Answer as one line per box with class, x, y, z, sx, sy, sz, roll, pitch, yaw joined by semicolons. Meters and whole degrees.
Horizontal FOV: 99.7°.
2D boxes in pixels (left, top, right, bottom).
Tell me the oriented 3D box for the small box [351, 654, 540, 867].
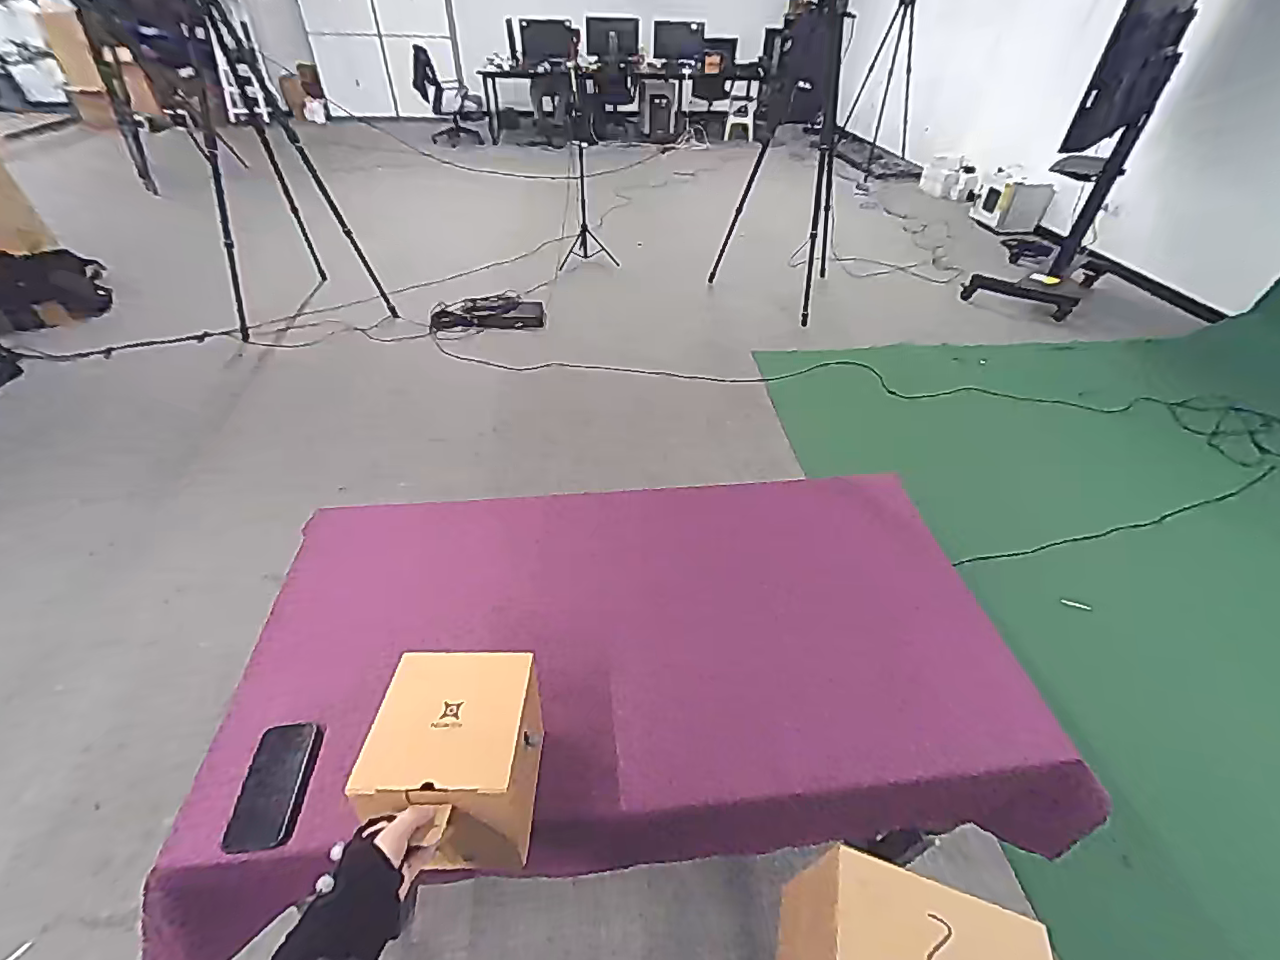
small box;-0.218;0.339;0.664;0.168;0.176;0.179;0;34;-2
